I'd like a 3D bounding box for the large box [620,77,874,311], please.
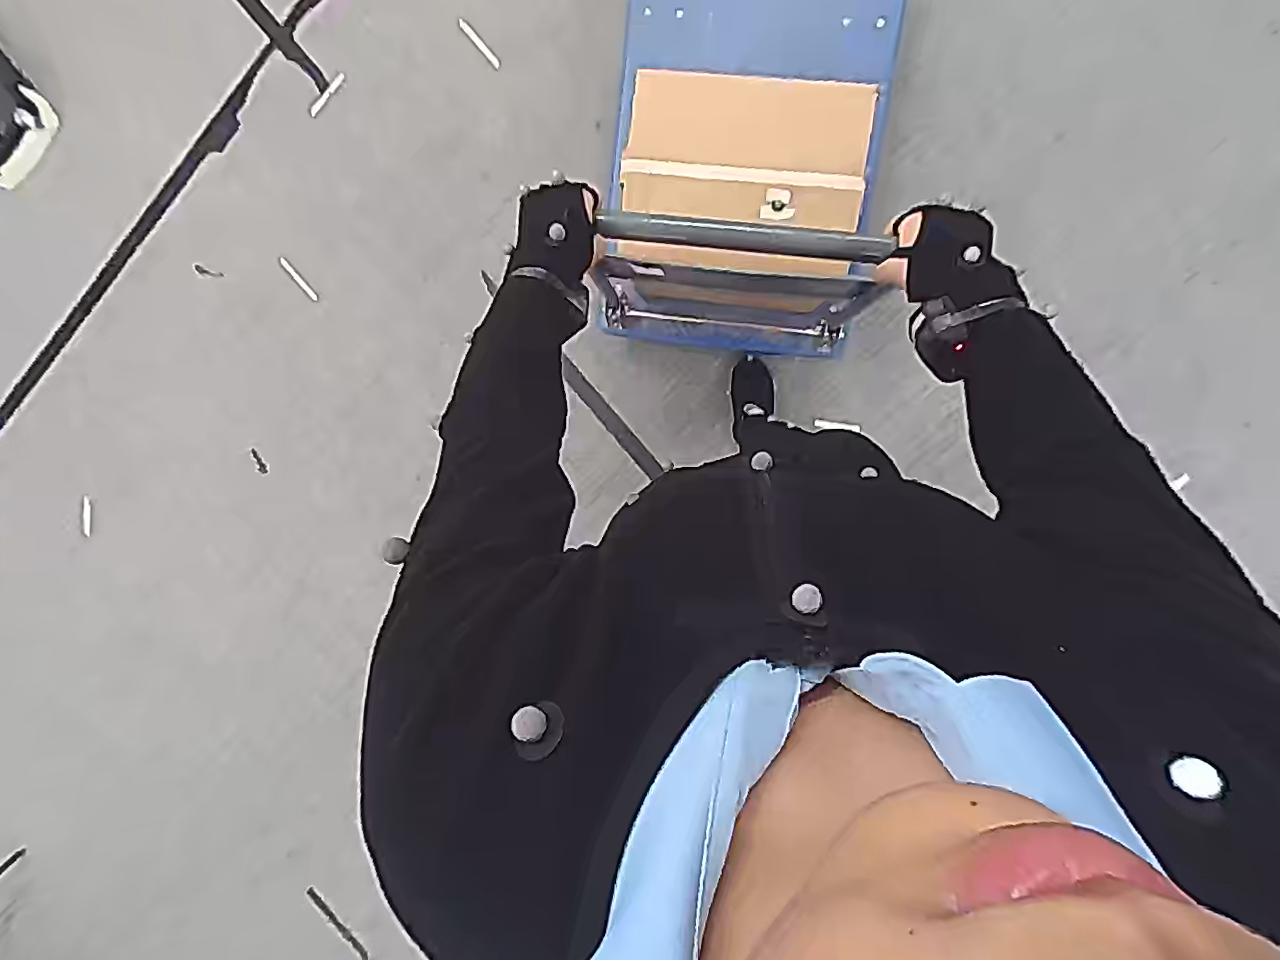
[{"bbox_3d":[0.186,-0.533,1.072,0.408,0.320,0.320,8,99,4],"label":"large box"}]
